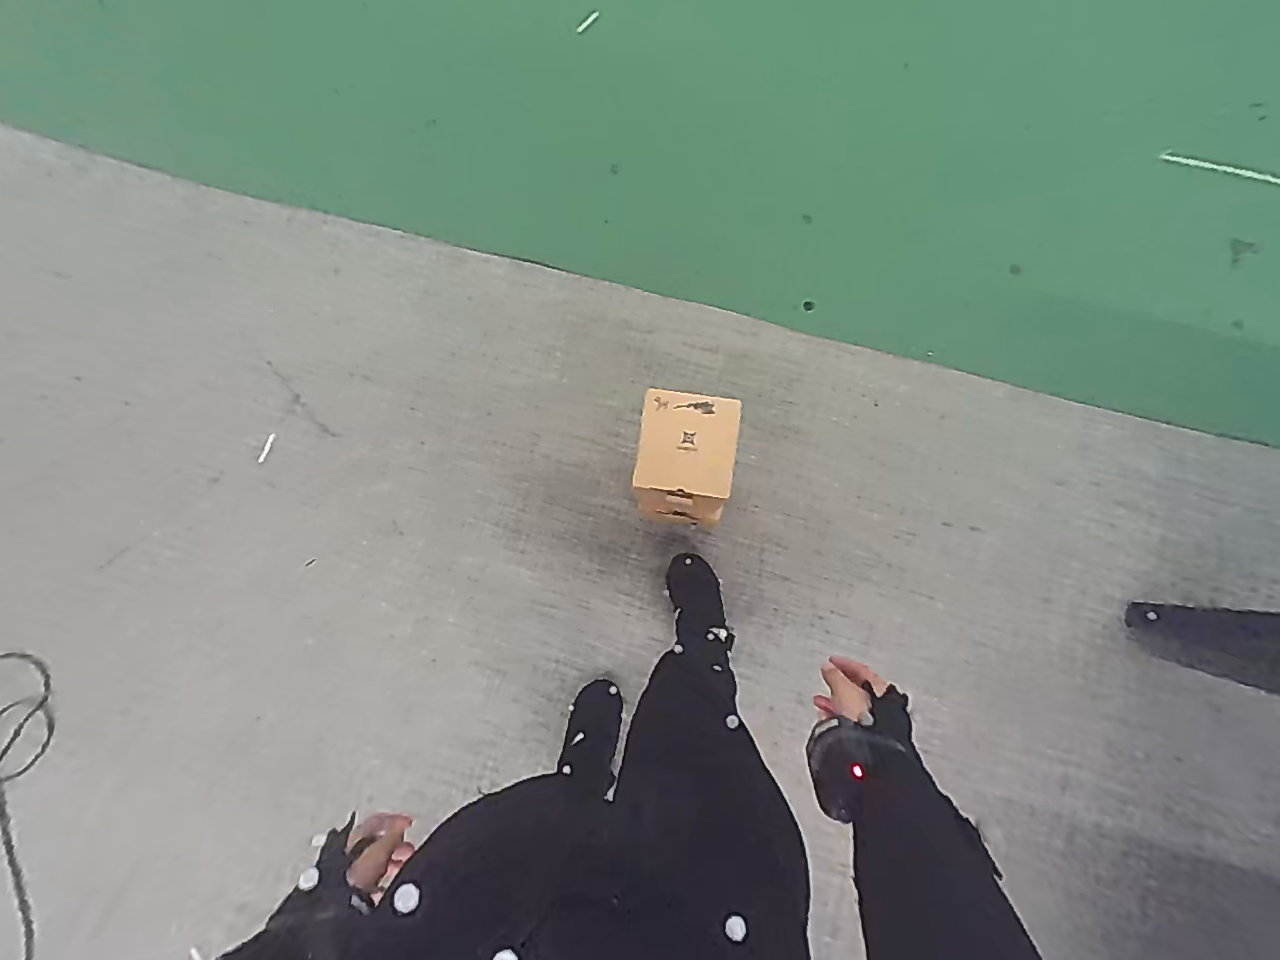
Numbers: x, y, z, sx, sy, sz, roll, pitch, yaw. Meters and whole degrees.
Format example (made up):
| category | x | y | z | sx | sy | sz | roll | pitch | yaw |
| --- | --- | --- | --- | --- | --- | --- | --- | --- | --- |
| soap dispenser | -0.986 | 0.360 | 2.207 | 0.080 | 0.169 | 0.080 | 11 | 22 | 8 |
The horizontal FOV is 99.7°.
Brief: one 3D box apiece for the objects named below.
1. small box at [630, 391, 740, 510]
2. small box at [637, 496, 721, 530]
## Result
| category | x | y | z | sx | sy | sz | roll | pitch | yaw |
| --- | --- | --- | --- | --- | --- | --- | --- | --- | --- |
| small box | 0.080 | -0.045 | 0.989 | 0.168 | 0.176 | 0.179 | 9 | 82 | 3 |
| small box | 0.092 | 0.005 | 1.147 | 0.168 | 0.176 | 0.179 | 10 | 80 | 3 |
